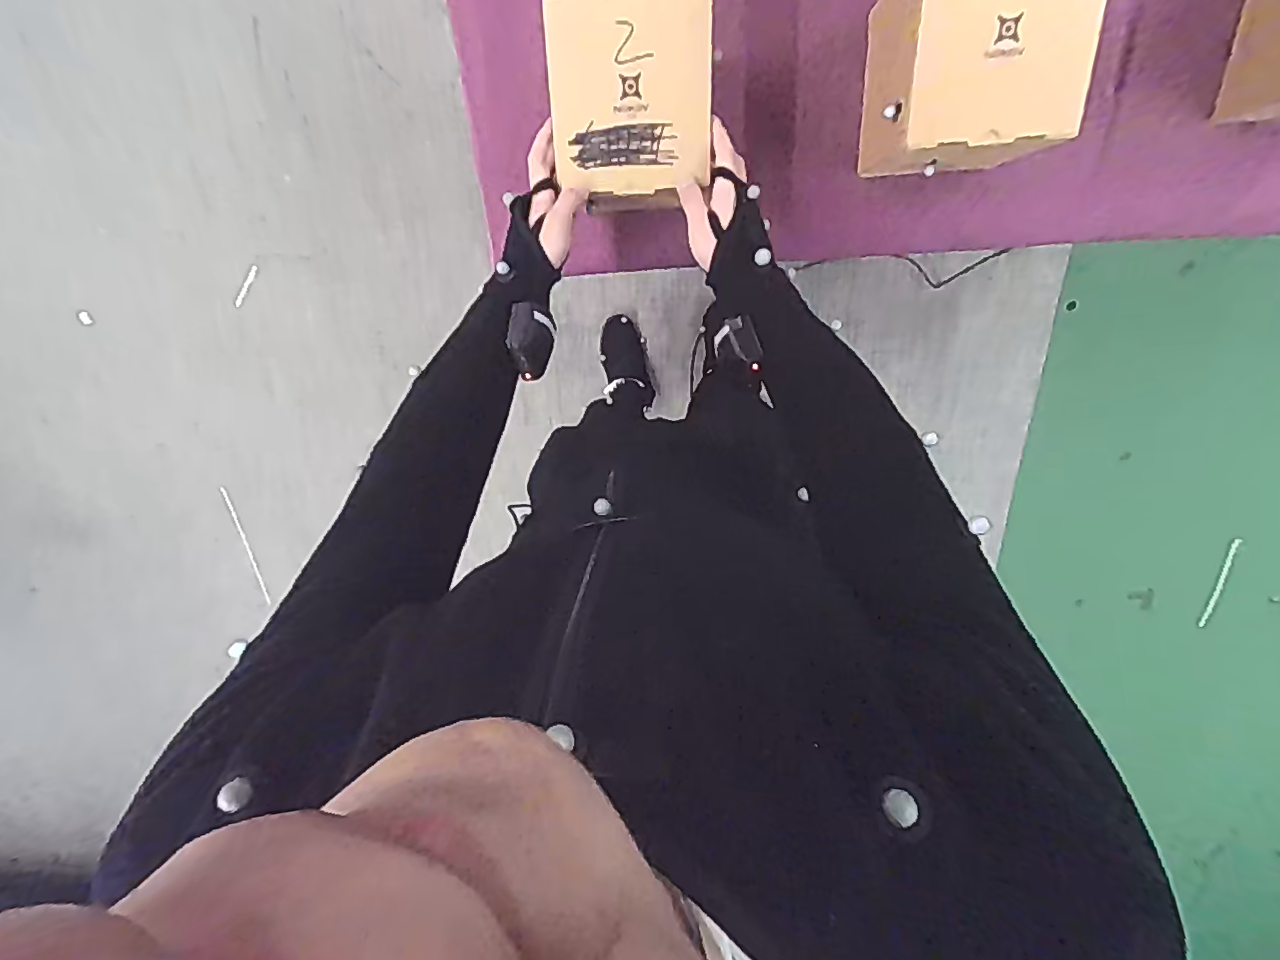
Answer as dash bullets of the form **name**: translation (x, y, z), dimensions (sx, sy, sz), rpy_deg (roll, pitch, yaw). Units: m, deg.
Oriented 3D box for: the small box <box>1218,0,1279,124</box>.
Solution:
- **small box**: translation (0.744, -0.473, 0.528), dimensions (0.168, 0.176, 0.179), rpy_deg (1, 112, 6)
